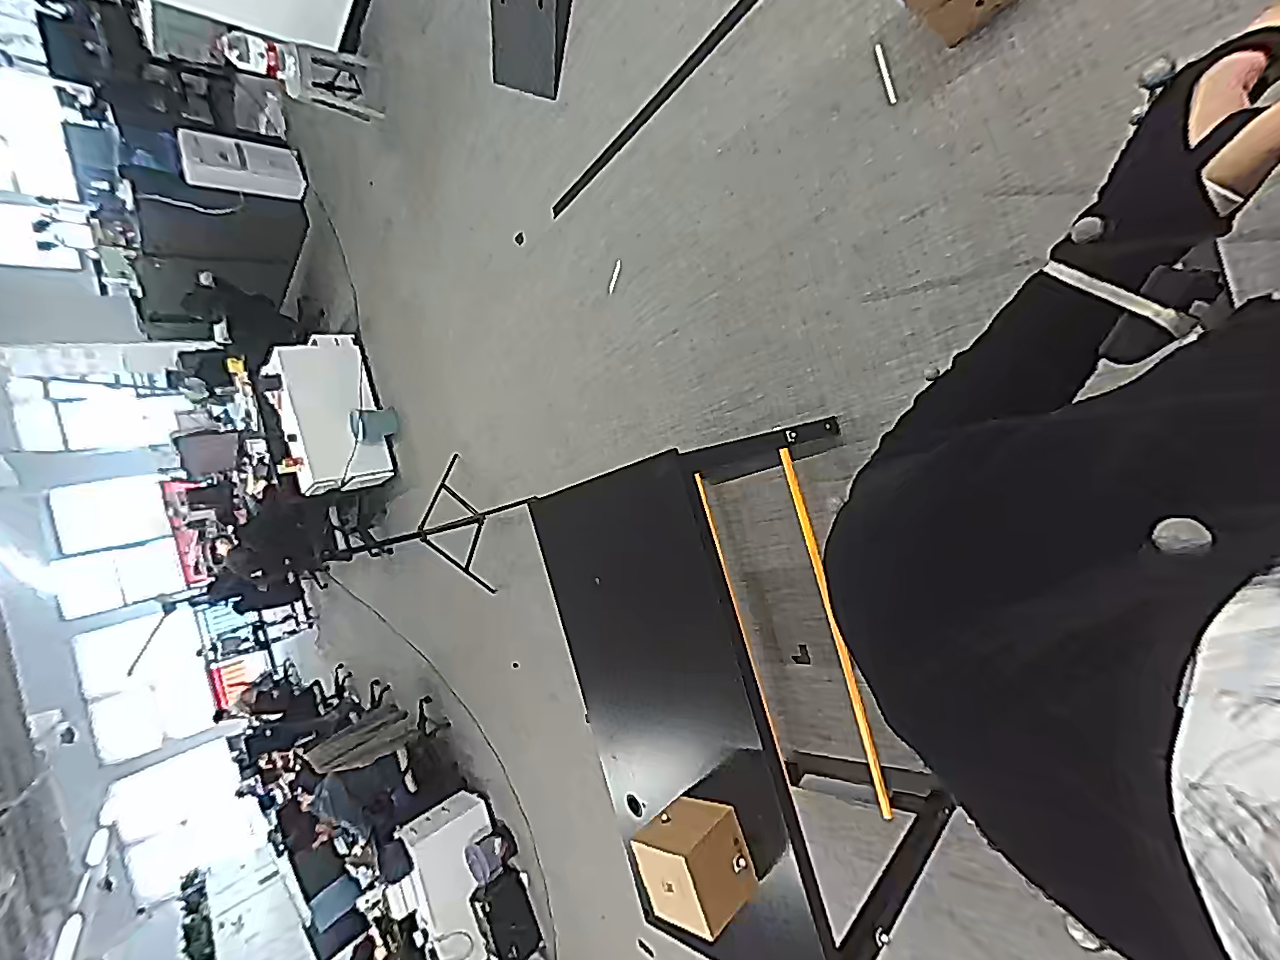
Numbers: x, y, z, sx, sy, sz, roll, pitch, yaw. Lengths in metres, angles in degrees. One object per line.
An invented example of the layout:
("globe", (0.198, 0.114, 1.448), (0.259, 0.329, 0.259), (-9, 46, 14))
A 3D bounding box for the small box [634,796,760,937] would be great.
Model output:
("small box", (0.123, 0.810, 1.158), (0.179, 0.176, 0.168), (-26, 83, 46))

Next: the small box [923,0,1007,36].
("small box", (0.680, -1.070, 1.115), (0.168, 0.176, 0.179), (-19, 88, 48))
